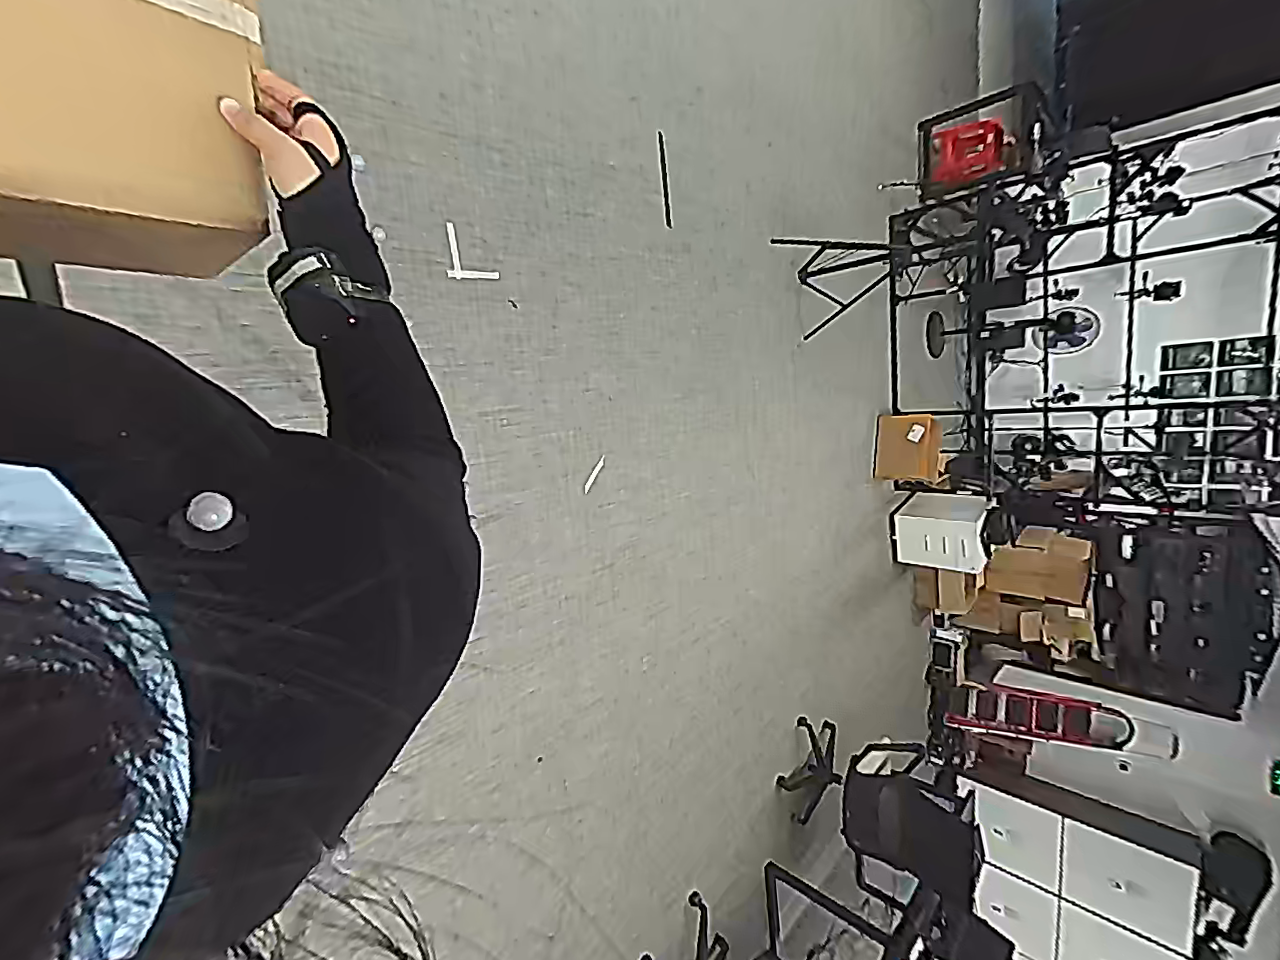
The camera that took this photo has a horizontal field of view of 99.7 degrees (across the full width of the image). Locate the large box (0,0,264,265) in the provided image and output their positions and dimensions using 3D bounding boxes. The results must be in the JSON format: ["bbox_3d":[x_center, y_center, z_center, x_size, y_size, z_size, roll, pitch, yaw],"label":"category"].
[{"bbox_3d":[-0.566,-0.360,0.404,0.408,0.320,0.320,-10,104,-43],"label":"large box"}]
